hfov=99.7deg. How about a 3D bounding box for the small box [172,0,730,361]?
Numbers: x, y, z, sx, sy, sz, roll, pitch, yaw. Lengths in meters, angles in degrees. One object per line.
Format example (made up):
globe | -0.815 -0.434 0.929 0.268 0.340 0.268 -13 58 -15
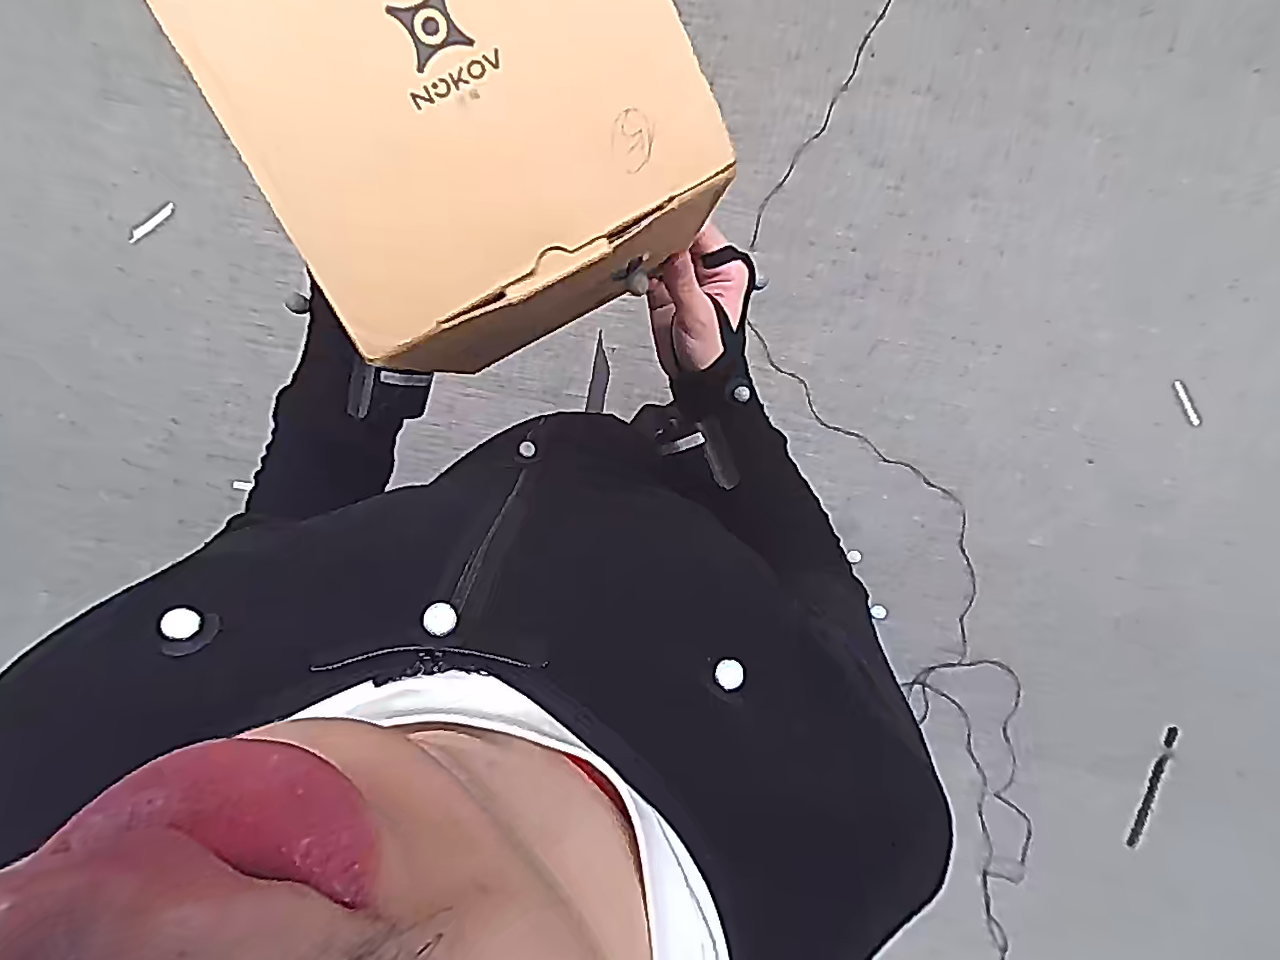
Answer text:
small box | -0.077 -0.176 0.285 0.168 0.176 0.179 -30 100 0
